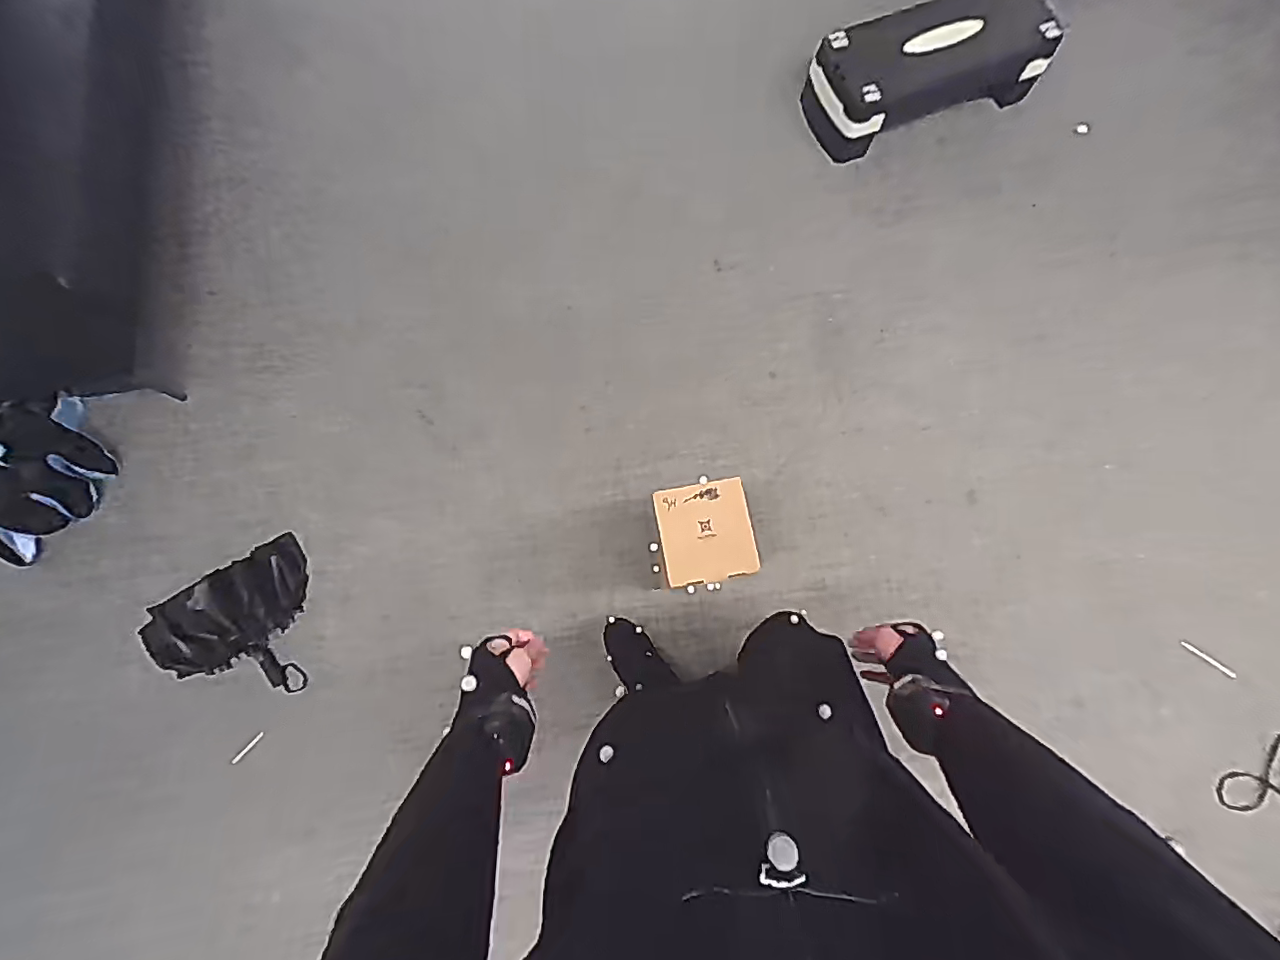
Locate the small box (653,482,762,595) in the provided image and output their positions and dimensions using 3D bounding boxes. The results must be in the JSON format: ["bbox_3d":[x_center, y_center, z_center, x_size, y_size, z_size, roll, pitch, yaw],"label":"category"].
[{"bbox_3d":[0.121,0.114,1.030,0.168,0.176,0.179,-11,79,-1],"label":"small box"}]
